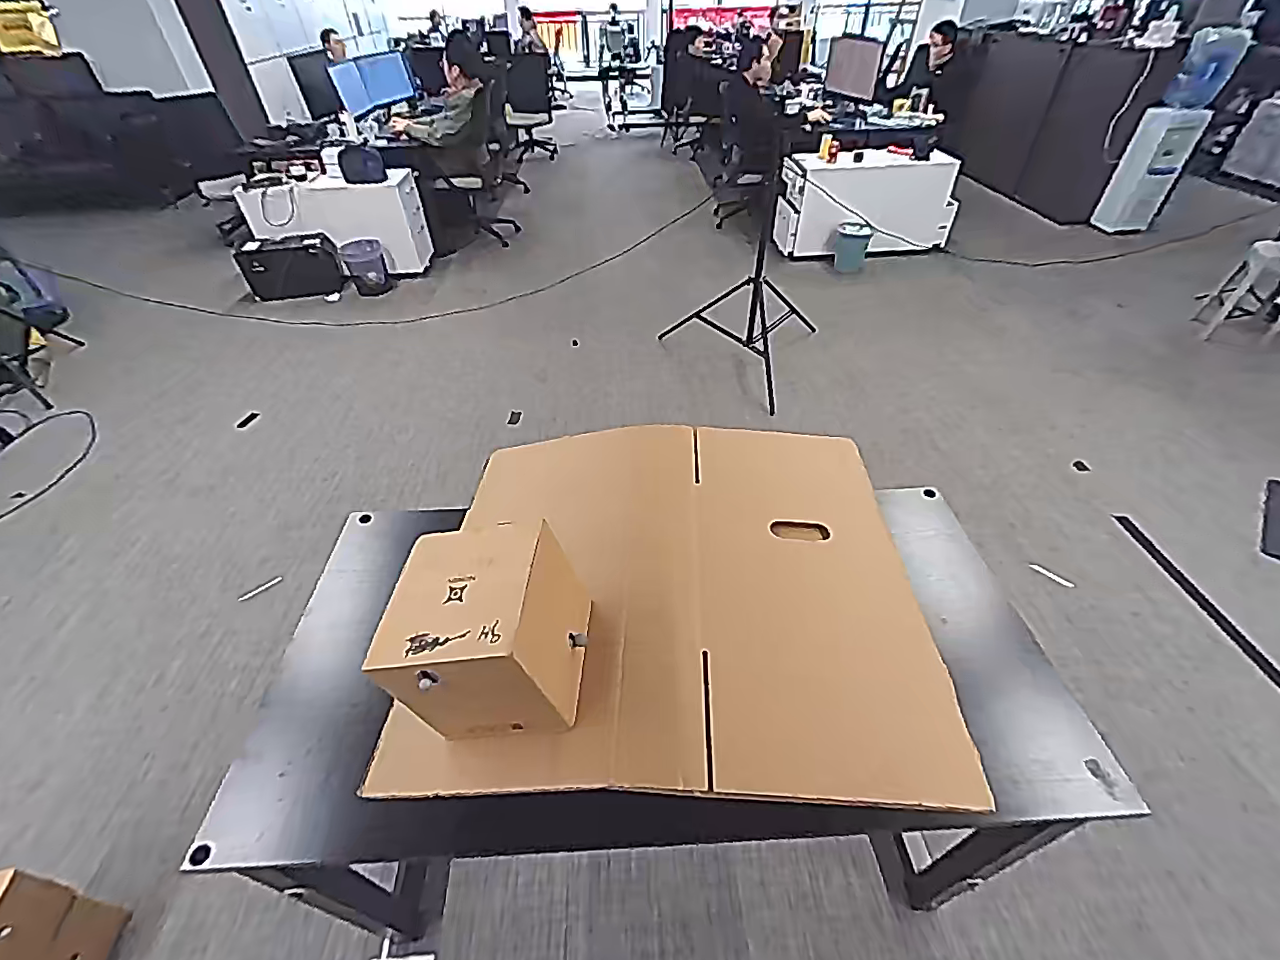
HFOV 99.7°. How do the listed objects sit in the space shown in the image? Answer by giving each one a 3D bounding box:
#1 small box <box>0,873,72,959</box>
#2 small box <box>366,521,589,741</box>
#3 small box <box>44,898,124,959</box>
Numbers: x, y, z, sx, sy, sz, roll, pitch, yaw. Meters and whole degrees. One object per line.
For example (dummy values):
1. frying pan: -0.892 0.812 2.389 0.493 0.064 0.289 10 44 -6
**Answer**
1. small box: -1.218 0.854 0.985 0.168 0.176 0.179 -7 42 -7
2. small box: -0.166 0.175 0.625 0.168 0.176 0.179 -10 41 13
3. small box: -1.212 0.978 1.090 0.168 0.176 0.179 -6 43 -4
